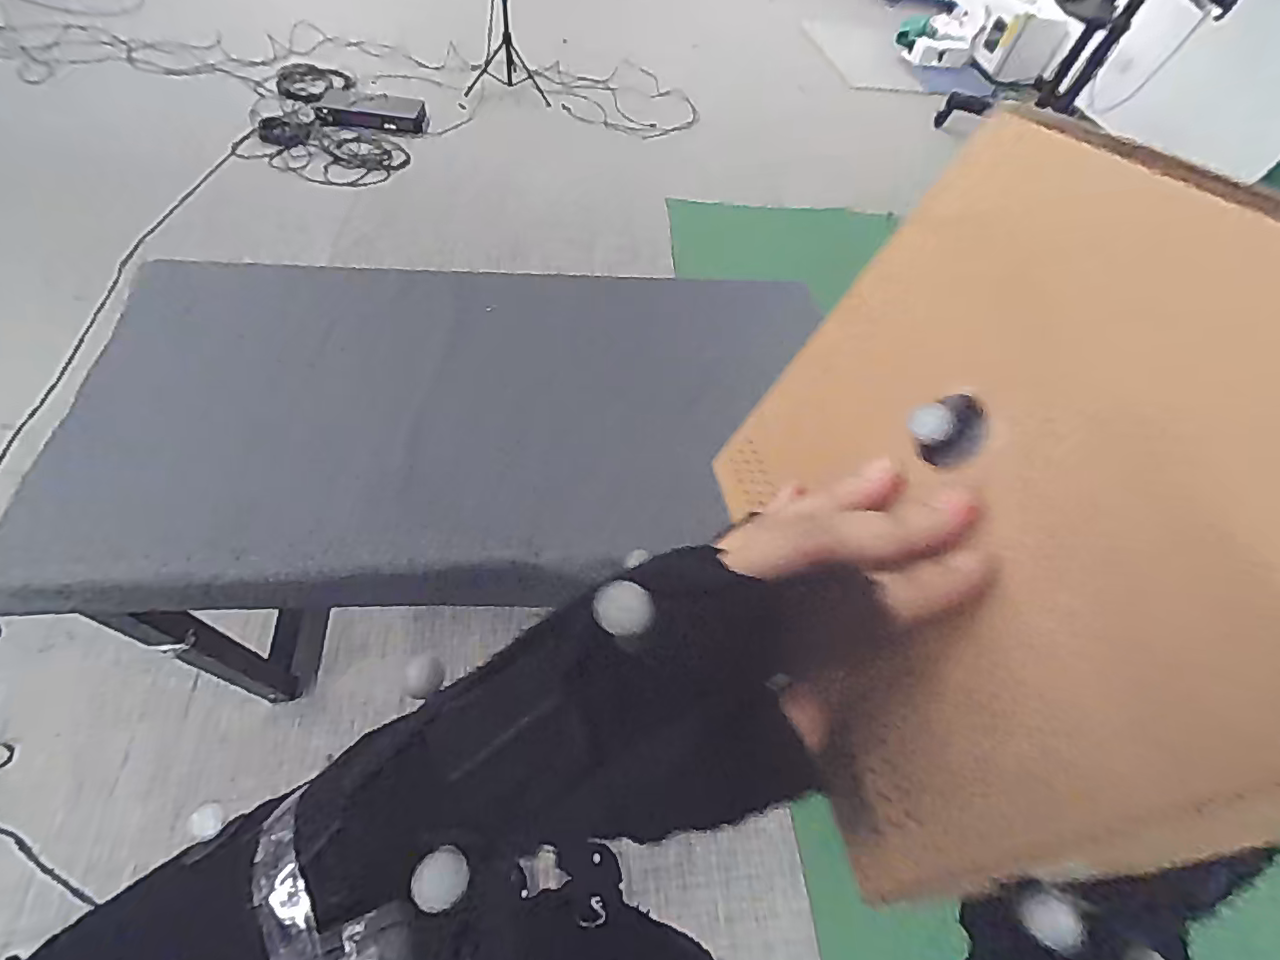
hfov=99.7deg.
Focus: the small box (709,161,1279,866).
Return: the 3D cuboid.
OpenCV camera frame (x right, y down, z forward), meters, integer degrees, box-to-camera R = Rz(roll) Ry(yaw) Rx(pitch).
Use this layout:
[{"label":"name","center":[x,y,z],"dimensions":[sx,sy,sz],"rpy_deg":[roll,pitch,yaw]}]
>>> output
[{"label":"small box","center":[0.150,0.026,0.204],"dimensions":[0.168,0.176,0.179],"rpy_deg":[16,40,-25]}]
